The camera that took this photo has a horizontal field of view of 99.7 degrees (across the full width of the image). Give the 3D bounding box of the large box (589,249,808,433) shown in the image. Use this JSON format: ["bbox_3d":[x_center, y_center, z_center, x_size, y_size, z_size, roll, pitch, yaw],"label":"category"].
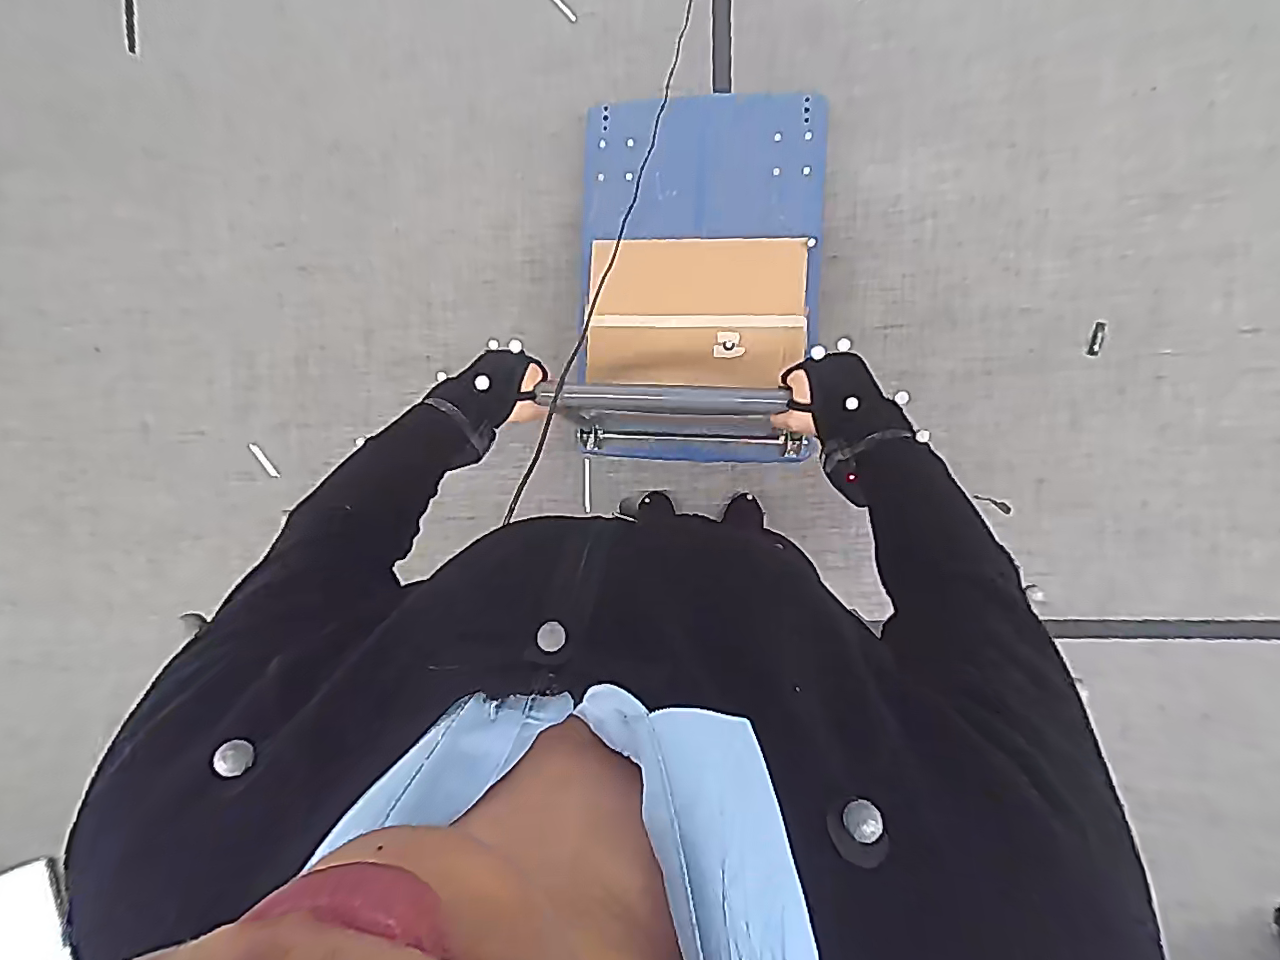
[{"bbox_3d":[0.118,-0.270,1.149,0.408,0.320,0.320,2,90,6],"label":"large box"}]
